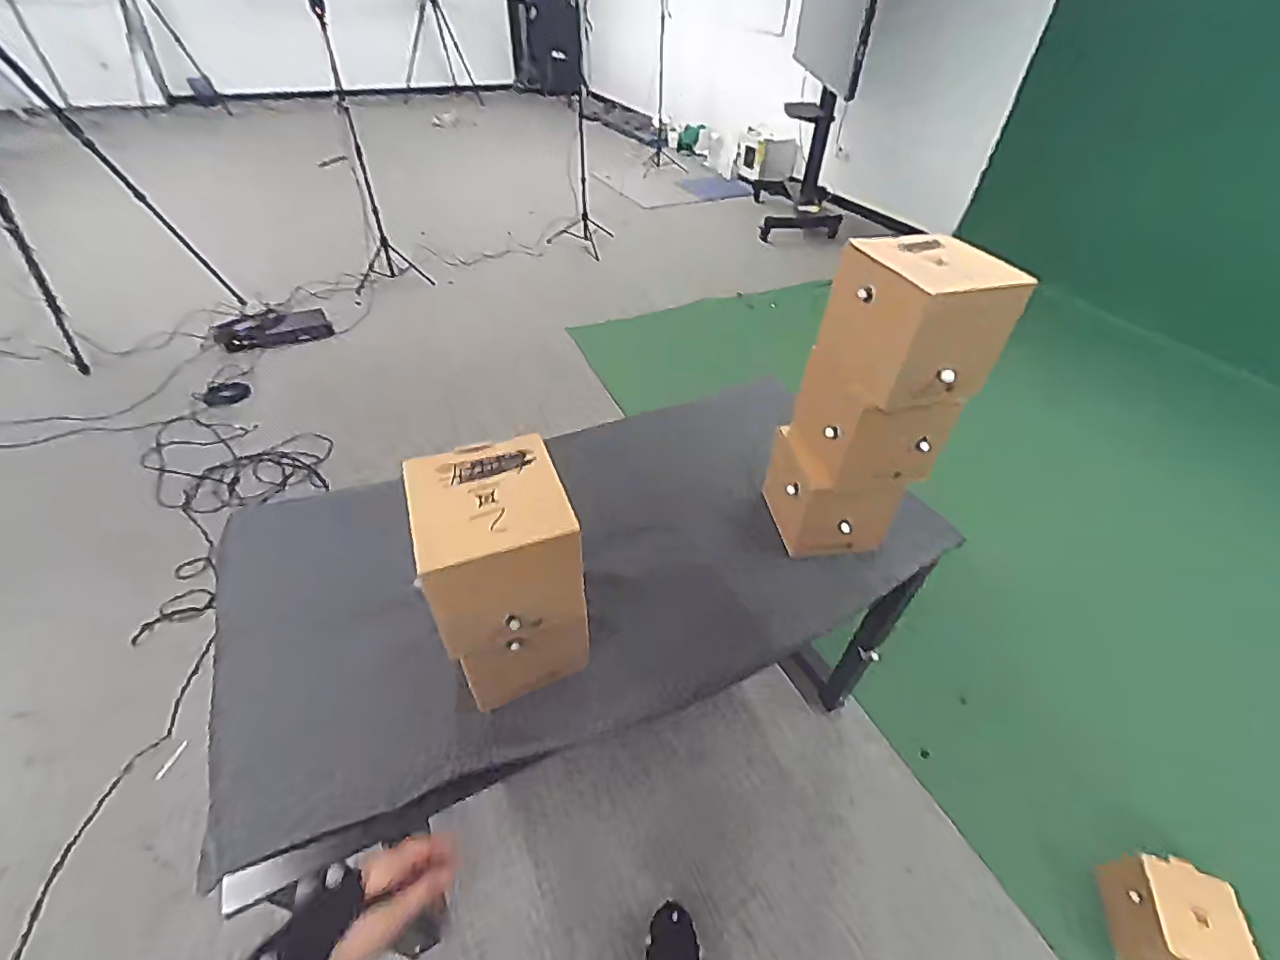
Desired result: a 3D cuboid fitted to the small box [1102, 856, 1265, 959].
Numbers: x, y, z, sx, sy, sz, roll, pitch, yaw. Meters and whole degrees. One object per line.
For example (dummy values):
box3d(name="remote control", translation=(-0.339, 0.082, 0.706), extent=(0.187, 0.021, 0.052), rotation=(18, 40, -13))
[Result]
box3d(name="small box", translation=(1.110, 0.924, 1.114), extent=(0.168, 0.176, 0.179), rotation=(14, 44, 12))

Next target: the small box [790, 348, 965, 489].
box3d(name="small box", translation=(0.359, -0.099, 0.855), extent=(0.168, 0.176, 0.179), rotation=(-6, 42, -11))

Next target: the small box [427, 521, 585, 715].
box3d(name="small box", translation=(-0.186, 0.193, 0.767), extent=(0.168, 0.176, 0.179), rotation=(-19, 46, -21))

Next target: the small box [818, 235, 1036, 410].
box3d(name="small box", translation=(0.372, -0.218, 0.743), extent=(0.168, 0.176, 0.179), rotation=(-11, 45, -15))

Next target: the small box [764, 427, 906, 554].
box3d(name="small box", translation=(0.334, 0.019, 0.965), extent=(0.168, 0.176, 0.179), rotation=(-4, 42, -6))
